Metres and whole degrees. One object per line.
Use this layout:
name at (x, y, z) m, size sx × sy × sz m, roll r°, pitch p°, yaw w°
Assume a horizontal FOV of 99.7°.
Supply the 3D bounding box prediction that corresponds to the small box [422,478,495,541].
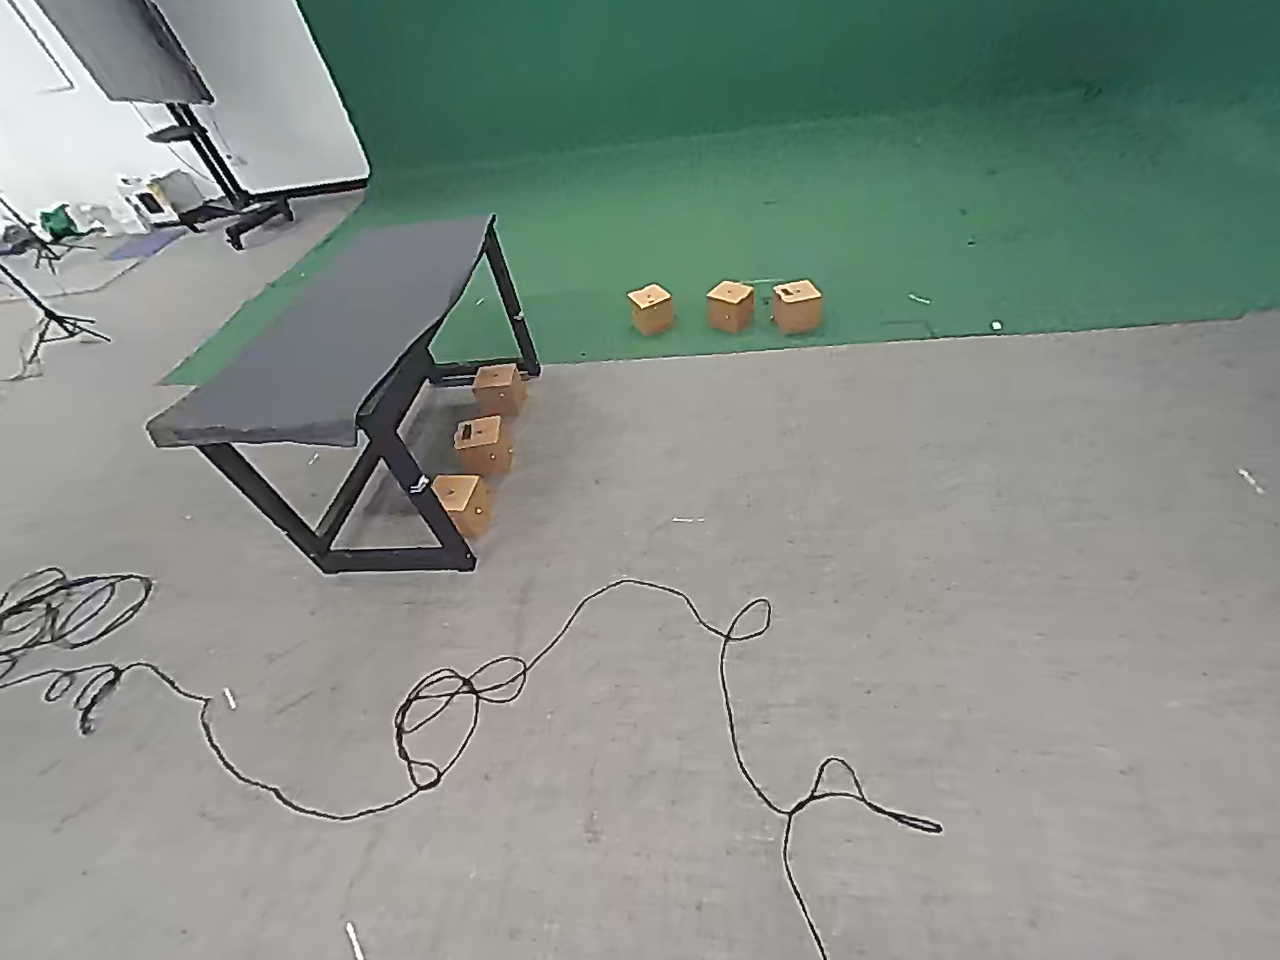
small box at (-0.657, 0.111, 1.983) m, size 0.179 × 0.176 × 0.168 m, roll 1°, pitch 48°, yaw 12°

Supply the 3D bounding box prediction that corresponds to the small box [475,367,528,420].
small box at (-0.618, -0.389, 2.442) m, size 0.179 × 0.176 × 0.168 m, roll -5°, pitch 46°, yaw 6°

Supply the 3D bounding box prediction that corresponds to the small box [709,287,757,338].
small box at (0.458, -0.819, 2.654) m, size 0.179 × 0.176 × 0.168 m, roll 27°, pitch 56°, yaw 31°

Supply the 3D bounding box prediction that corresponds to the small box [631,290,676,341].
small box at (0.071, -0.834, 2.741) m, size 0.168 × 0.176 × 0.179 m, roll -25°, pitch 47°, yaw -13°

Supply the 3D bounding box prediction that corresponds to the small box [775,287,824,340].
small box at (0.752, -0.787, 2.569) m, size 0.179 × 0.176 × 0.168 m, roll -13°, pitch 46°, yaw -3°
